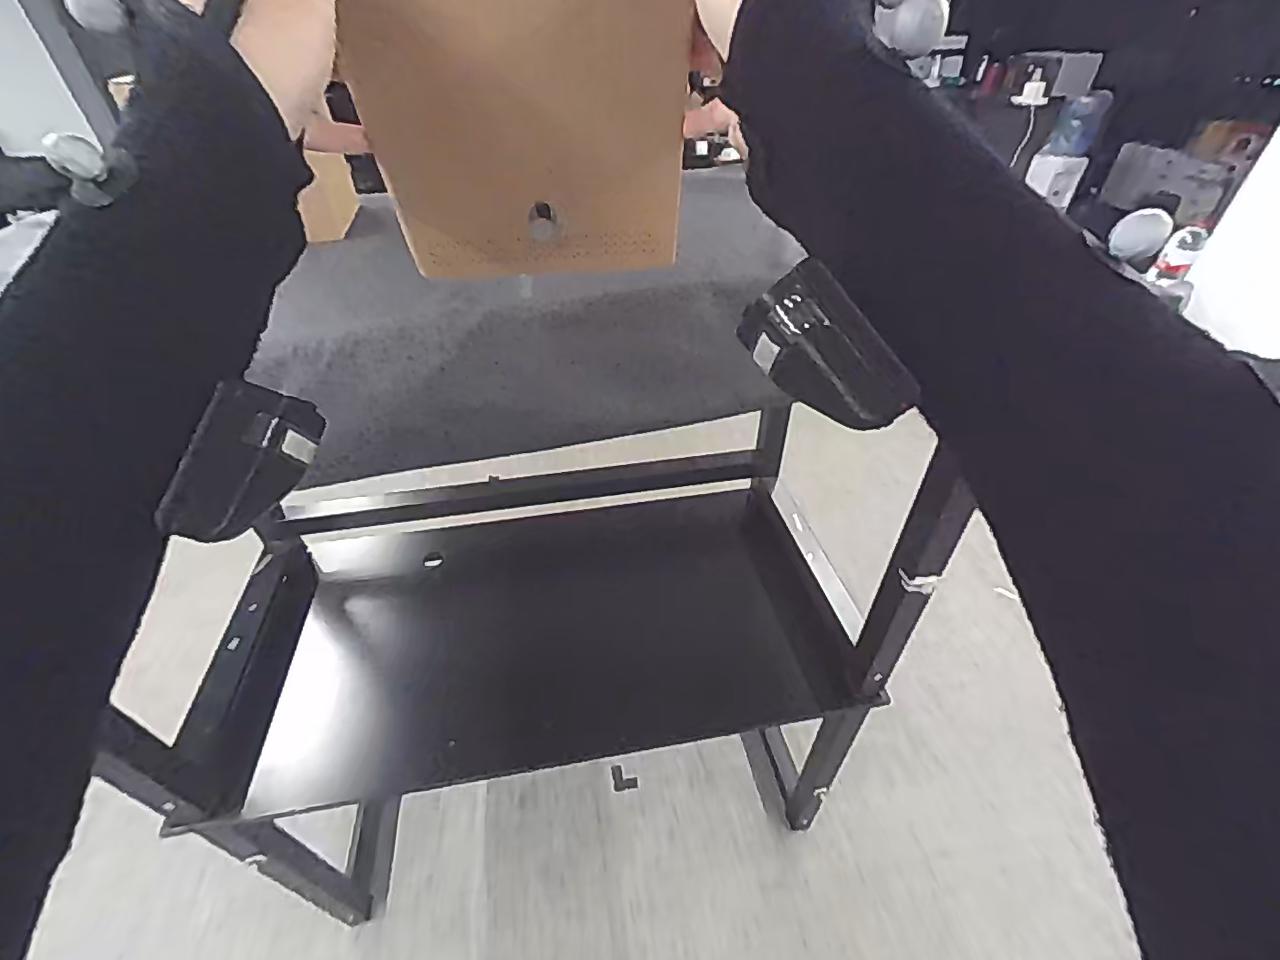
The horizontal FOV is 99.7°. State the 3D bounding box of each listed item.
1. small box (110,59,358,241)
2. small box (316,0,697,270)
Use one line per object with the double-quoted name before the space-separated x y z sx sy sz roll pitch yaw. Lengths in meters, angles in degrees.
"small box" -0.471 -0.404 0.667 0.168 0.176 0.179 -10 41 -10
"small box" -0.068 -0.254 0.341 0.179 0.176 0.168 -4 58 -4
